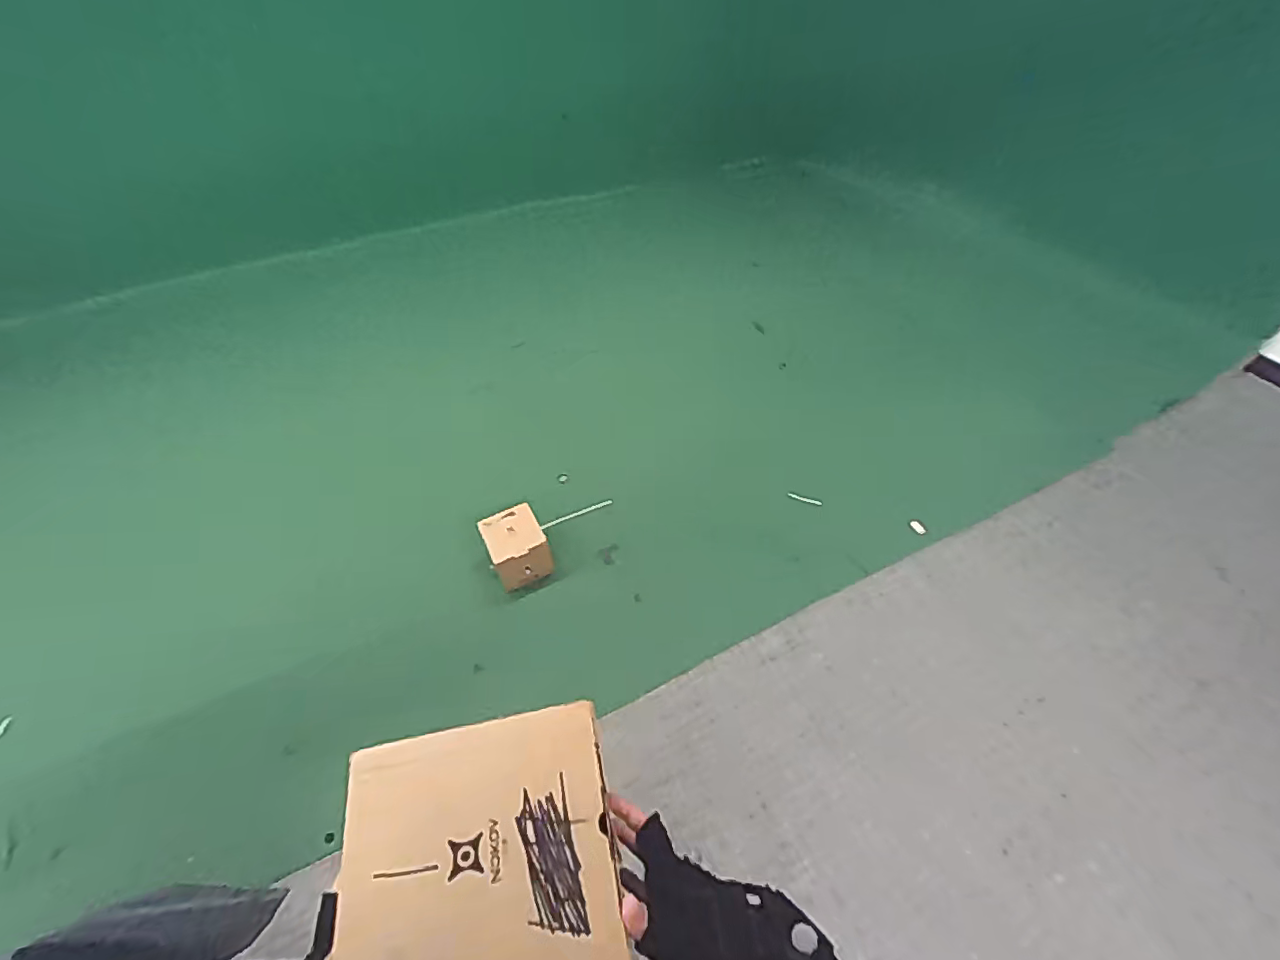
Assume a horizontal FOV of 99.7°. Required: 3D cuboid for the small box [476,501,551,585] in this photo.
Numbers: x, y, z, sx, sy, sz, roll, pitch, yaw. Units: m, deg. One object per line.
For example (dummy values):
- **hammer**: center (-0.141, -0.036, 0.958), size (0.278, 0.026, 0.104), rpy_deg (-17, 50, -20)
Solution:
- **small box**: center (-0.388, 0.204, 1.678), size (0.168, 0.176, 0.179), rpy_deg (-23, 54, -17)
